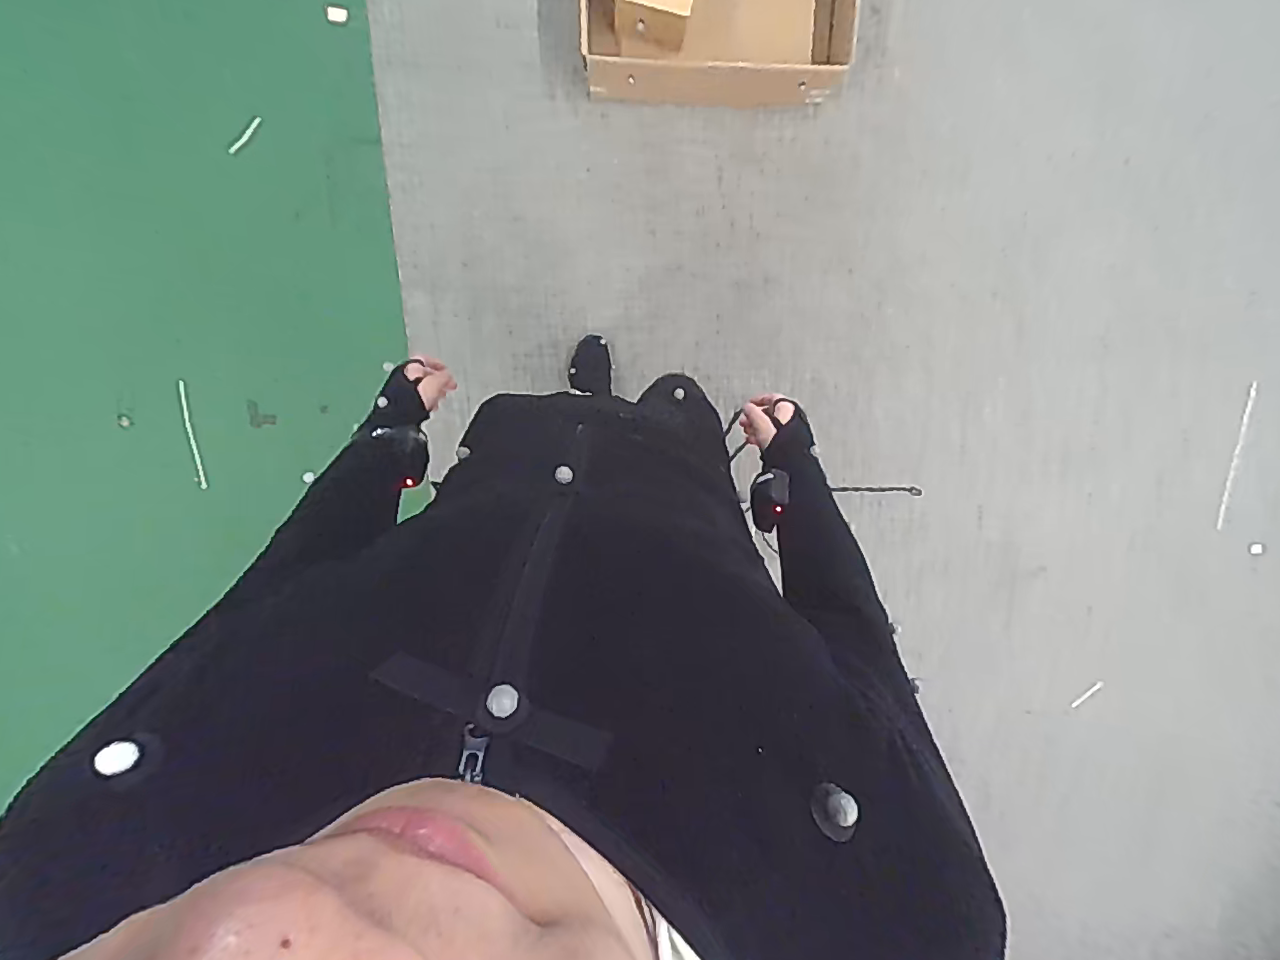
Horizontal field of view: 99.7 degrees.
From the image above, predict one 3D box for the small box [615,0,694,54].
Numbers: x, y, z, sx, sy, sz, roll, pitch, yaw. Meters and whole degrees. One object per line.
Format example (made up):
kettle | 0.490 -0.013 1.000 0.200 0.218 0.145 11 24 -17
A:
small box | 0.042 -1.100 1.205 0.168 0.176 0.179 10 103 -5
